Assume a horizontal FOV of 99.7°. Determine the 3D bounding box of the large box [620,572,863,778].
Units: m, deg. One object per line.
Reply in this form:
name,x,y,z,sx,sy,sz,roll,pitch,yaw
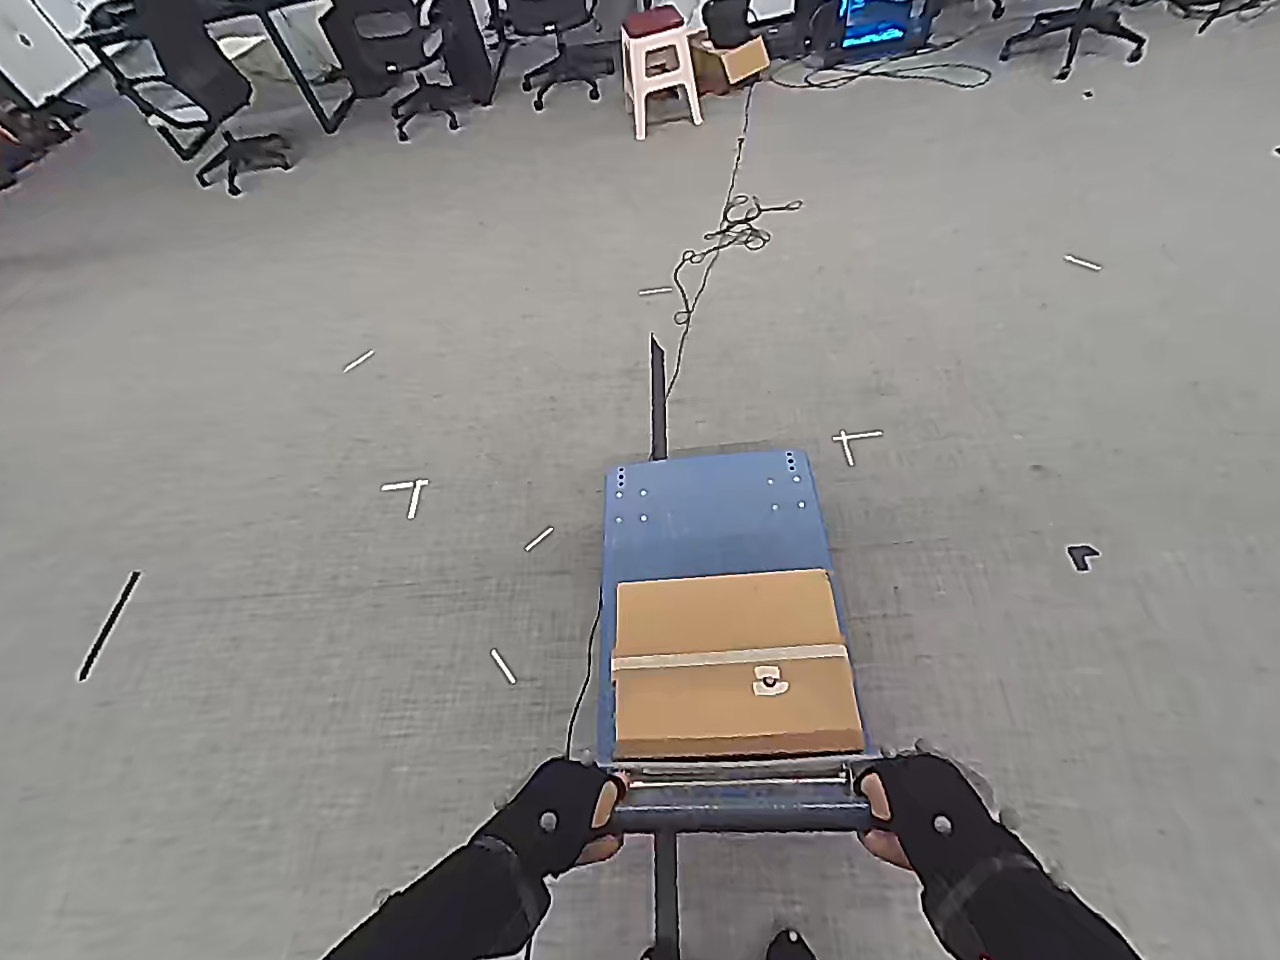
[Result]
large box,0.180,0.406,1.096,0.408,0.320,0.320,-6,57,6
